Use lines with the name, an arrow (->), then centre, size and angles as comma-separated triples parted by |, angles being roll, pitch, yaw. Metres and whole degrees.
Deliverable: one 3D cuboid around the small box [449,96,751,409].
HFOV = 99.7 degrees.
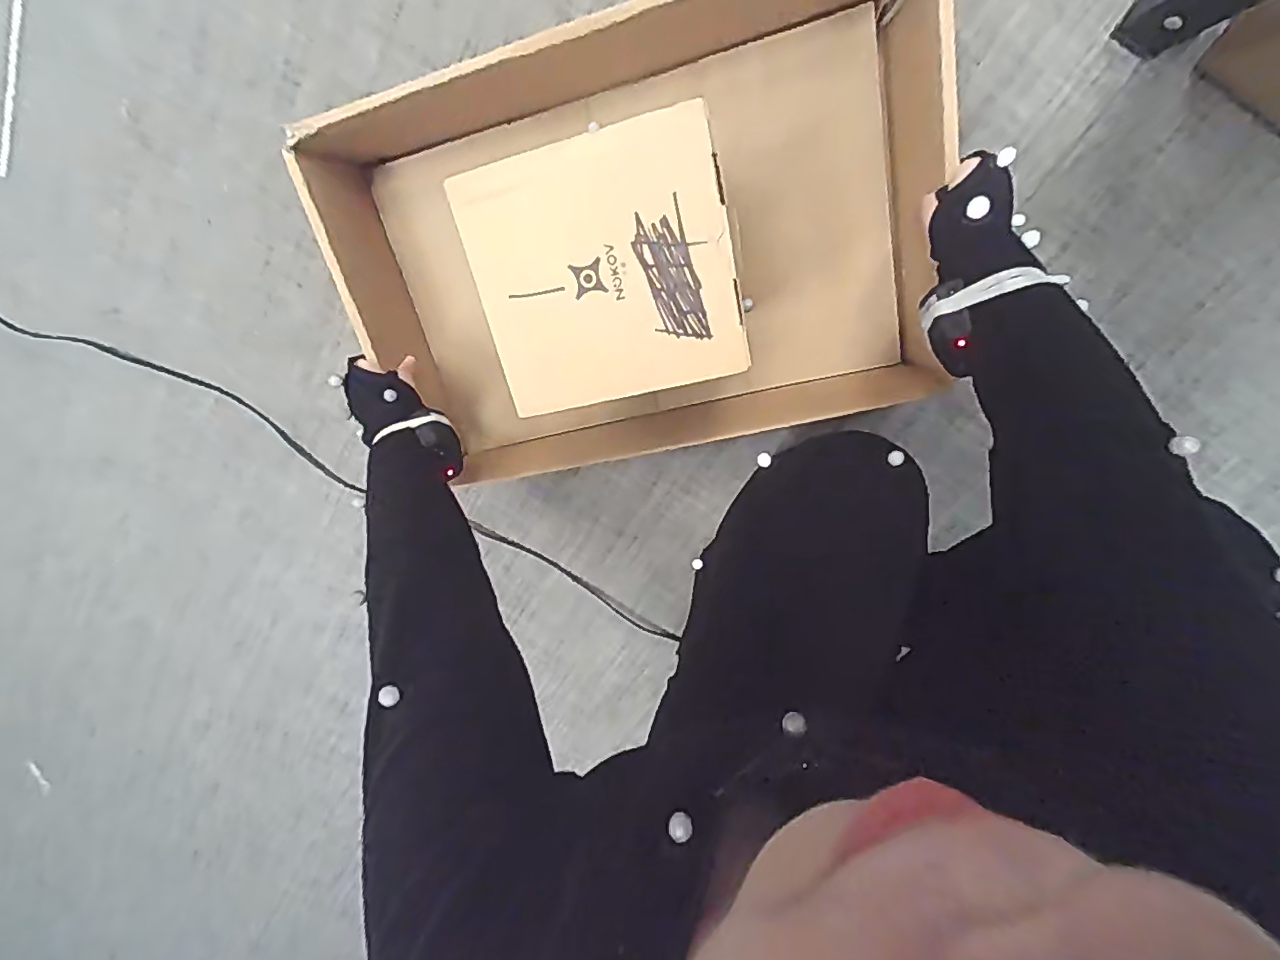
small box -> -0.014, -0.171, 0.433 | 0.179, 0.176, 0.168 | -9, 111, 13
